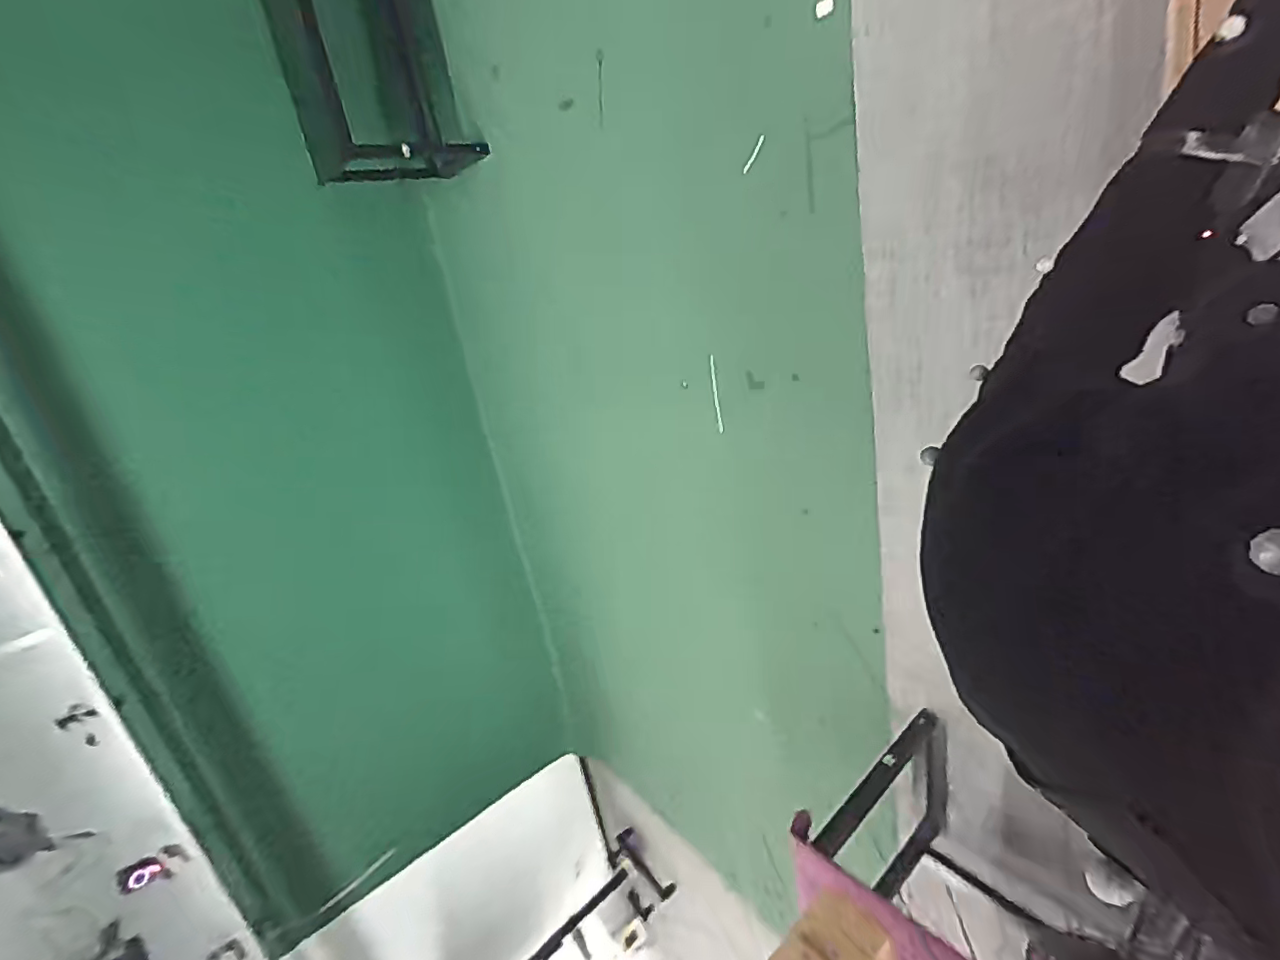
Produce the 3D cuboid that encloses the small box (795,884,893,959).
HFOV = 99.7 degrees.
[{"bbox_3d":[0.501,1.155,1.322,0.179,0.176,0.168,11,118,52],"label":"small box"}]

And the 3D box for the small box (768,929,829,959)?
[{"bbox_3d":[0.373,1.193,1.225,0.168,0.176,0.179,14,121,49],"label":"small box"}]
